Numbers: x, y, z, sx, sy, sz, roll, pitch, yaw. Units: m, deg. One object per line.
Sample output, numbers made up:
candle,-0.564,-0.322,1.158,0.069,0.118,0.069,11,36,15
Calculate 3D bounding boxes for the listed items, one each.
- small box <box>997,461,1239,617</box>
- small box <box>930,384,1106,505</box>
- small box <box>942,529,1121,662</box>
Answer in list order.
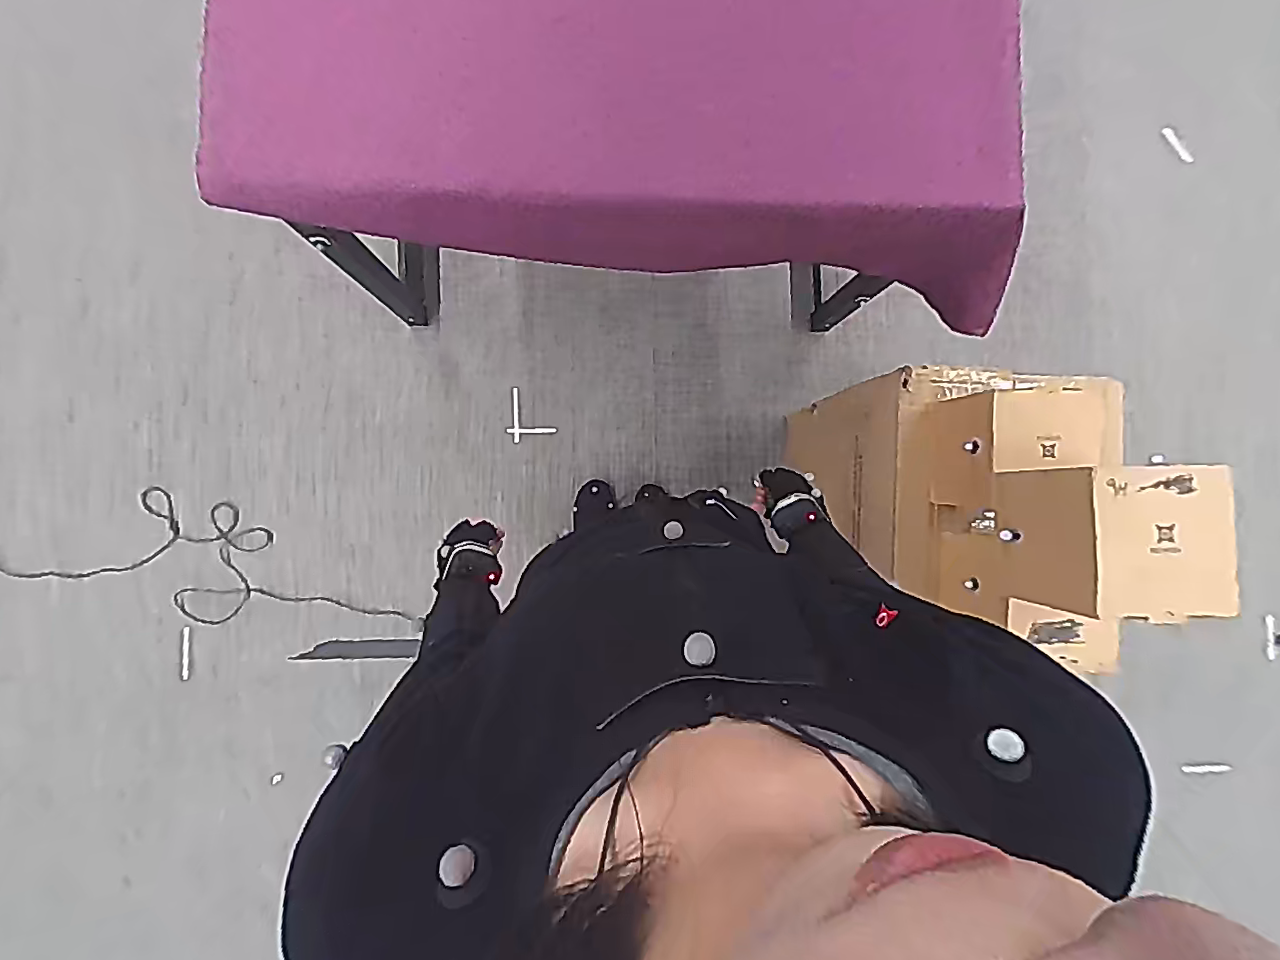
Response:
small box,0.589,0.067,0.688,0.168,0.176,0.179,-1,88,-2
small box,0.583,-0.050,0.854,0.168,0.176,0.179,0,90,-2
small box,0.601,0.172,0.848,0.168,0.176,0.179,4,86,-2
